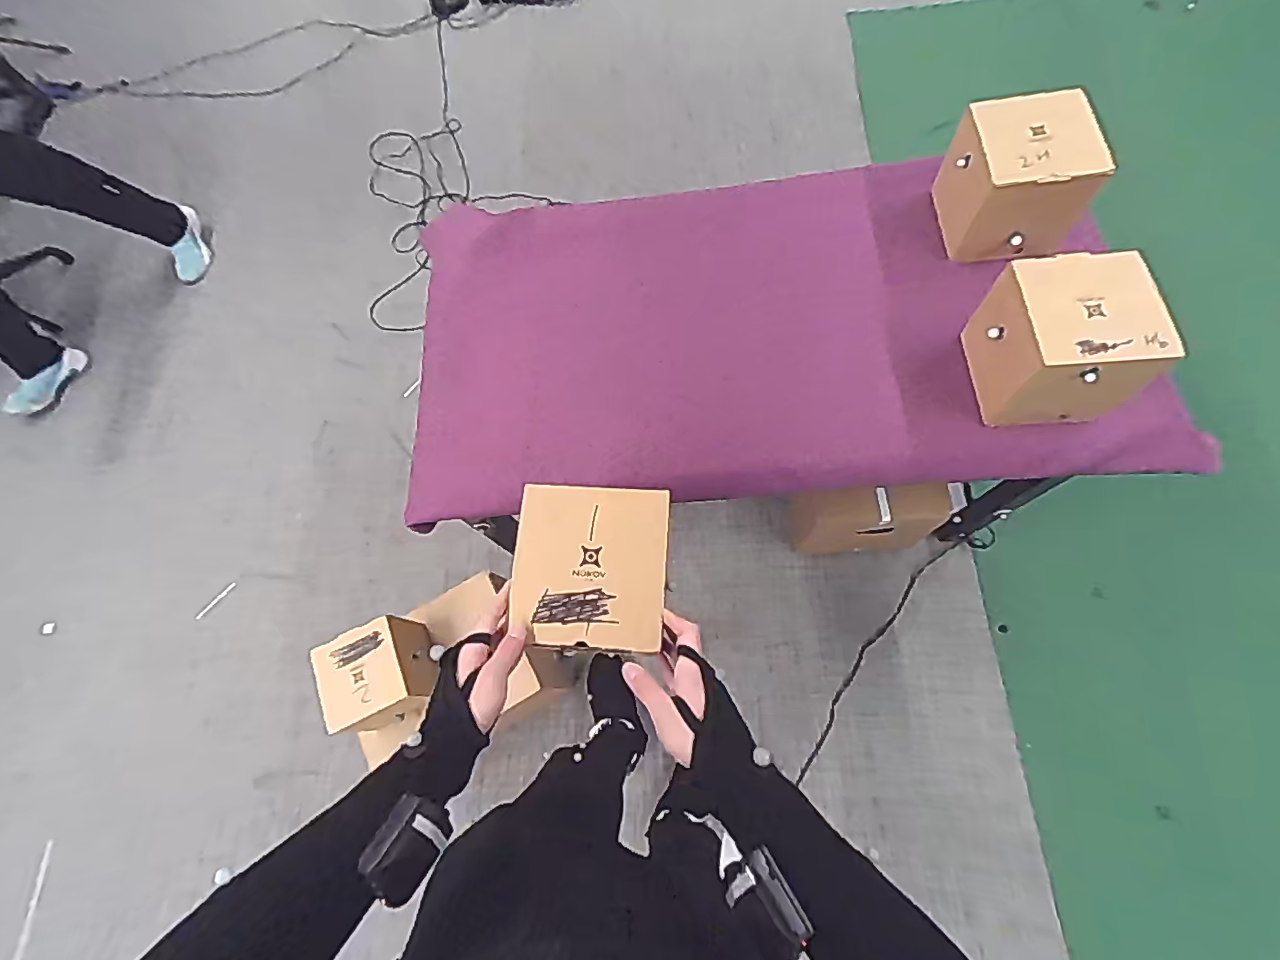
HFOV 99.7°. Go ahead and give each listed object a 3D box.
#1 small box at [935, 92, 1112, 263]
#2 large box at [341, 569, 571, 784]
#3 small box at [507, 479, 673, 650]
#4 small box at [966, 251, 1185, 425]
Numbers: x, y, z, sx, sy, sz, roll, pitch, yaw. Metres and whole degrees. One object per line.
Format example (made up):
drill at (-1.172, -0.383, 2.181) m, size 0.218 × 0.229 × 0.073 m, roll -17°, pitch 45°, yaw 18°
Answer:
small box at (0.613, -0.491, 0.894) m, size 0.168 × 0.176 × 0.179 m, roll -3°, pitch 70°, yaw 8°
large box at (-0.439, 0.485, 1.358) m, size 0.408 × 0.320 × 0.320 m, roll -30°, pitch 70°, yaw -6°
small box at (-0.047, 0.110, 0.654) m, size 0.168 × 0.176 × 0.179 m, roll 2°, pitch 71°, yaw 4°
small box at (0.603, -0.197, 0.782) m, size 0.168 × 0.176 × 0.179 m, roll -3°, pitch 66°, yaw 7°
